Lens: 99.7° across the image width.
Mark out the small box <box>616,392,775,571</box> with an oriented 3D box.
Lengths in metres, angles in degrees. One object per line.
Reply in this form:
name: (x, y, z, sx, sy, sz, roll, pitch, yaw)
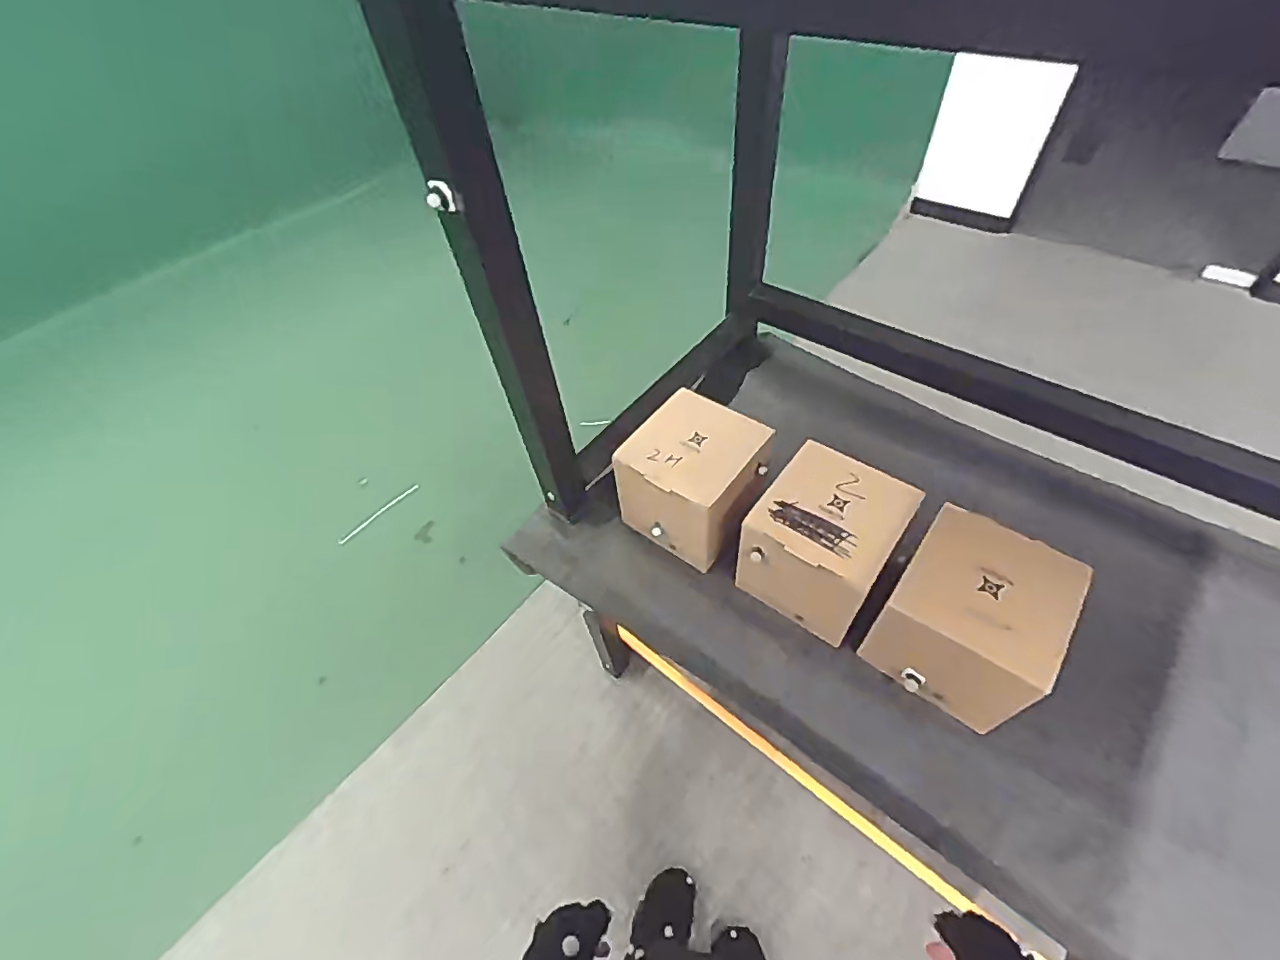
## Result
small box: (0.083, 0.003, 0.829, 0.168, 0.176, 0.179, 30, 60, 26)
